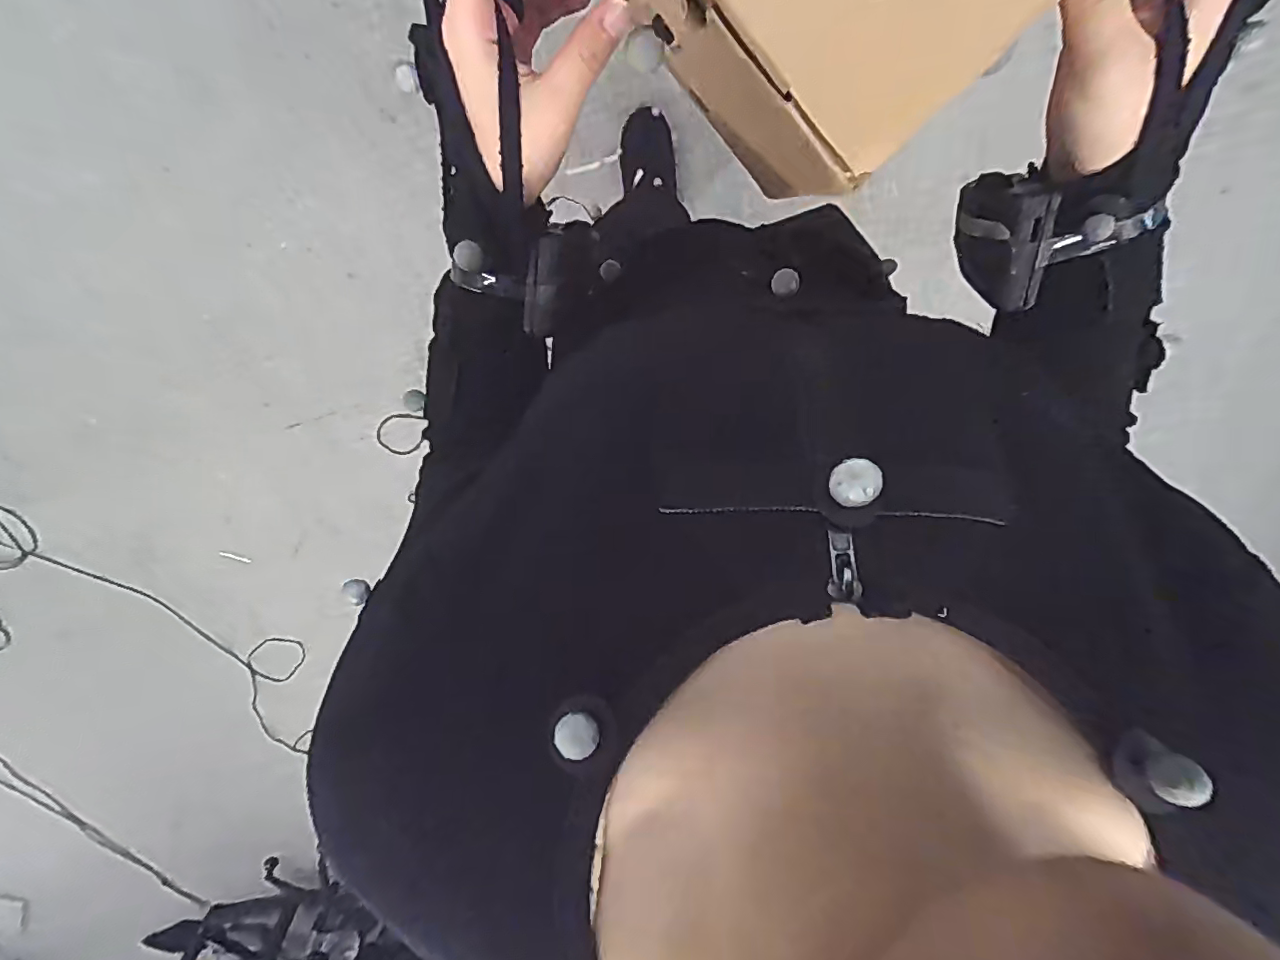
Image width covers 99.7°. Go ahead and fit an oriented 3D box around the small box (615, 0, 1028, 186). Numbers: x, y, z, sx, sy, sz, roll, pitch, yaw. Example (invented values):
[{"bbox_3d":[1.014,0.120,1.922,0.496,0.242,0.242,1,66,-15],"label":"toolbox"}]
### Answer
[{"bbox_3d":[0.069,-0.226,0.179,0.168,0.176,0.179,43,113,-15],"label":"small box"}]
